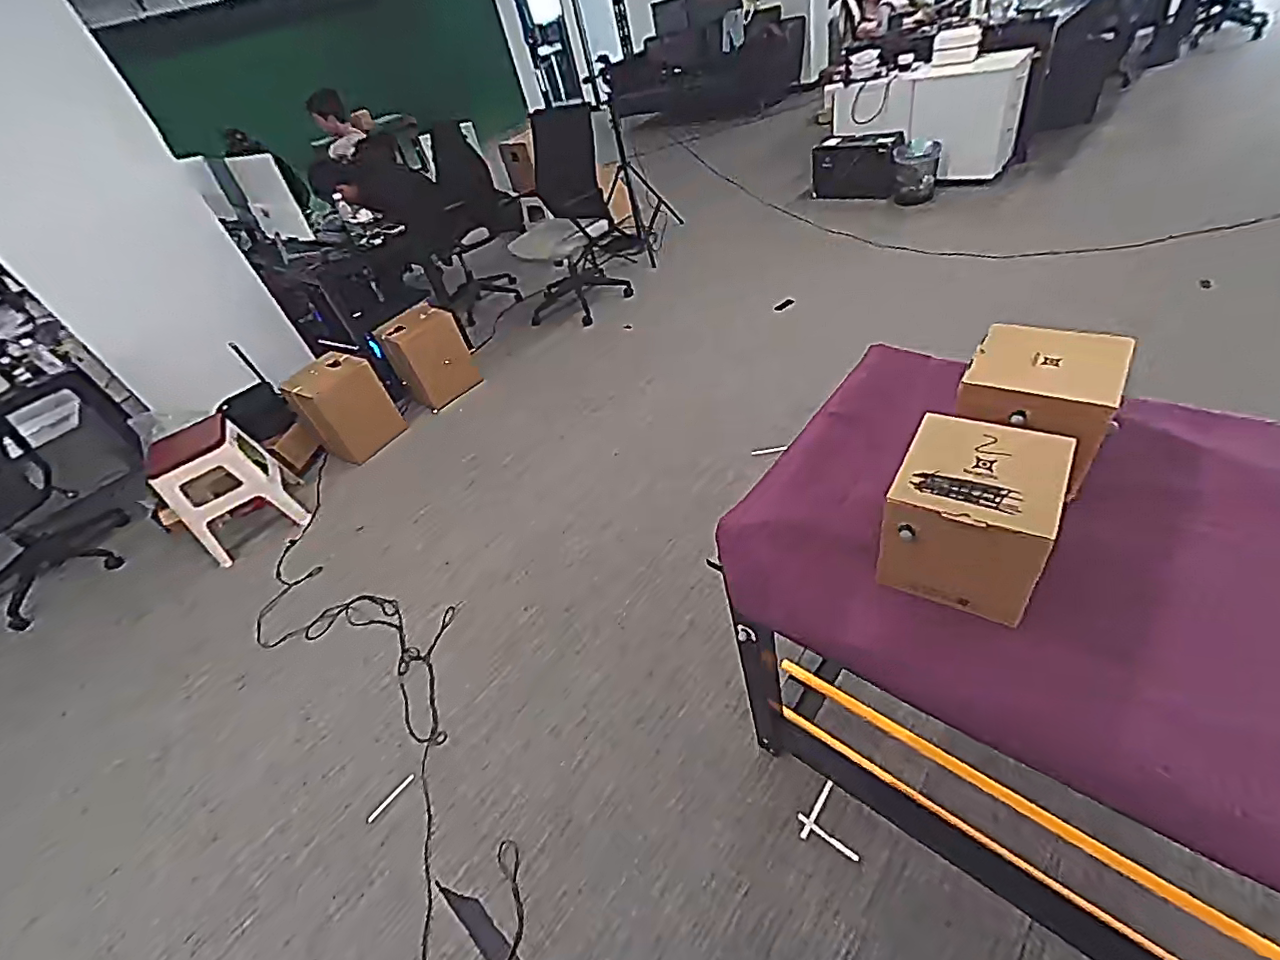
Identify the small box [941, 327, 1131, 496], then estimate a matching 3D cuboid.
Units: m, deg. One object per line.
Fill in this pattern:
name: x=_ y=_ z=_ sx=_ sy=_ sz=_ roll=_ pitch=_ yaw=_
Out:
small box: x=0.574 y=-0.100 z=0.800 sx=0.179 sy=0.176 sz=0.168 roll=20 pitch=53 yaw=34
